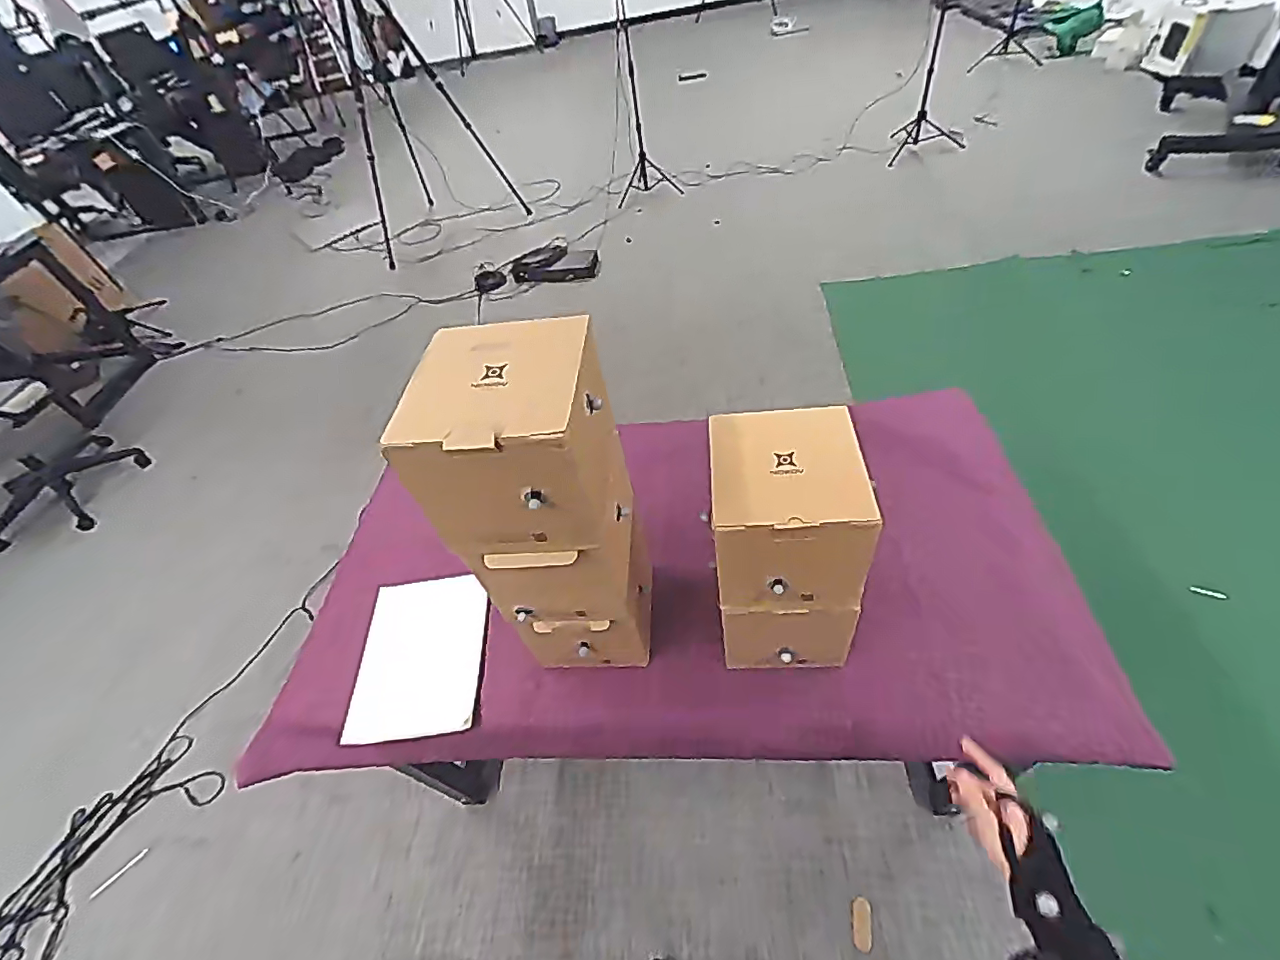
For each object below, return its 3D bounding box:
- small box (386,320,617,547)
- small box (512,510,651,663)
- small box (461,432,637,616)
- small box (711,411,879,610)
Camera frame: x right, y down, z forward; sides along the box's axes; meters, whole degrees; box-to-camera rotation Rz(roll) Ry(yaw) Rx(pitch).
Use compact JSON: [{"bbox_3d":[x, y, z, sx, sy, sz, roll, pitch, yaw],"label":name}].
[{"bbox_3d":[-0.122,-0.042,0.565,0.168,0.176,0.179,-2,48,8],"label":"small box"},{"bbox_3d":[-0.075,0.165,0.816,0.168,0.176,0.179,-3,49,8],"label":"small box"},{"bbox_3d":[-0.099,0.062,0.689,0.168,0.176,0.179,-3,48,8],"label":"small box"},{"bbox_3d":[0.172,0.039,0.658,0.168,0.176,0.179,-3,48,8],"label":"small box"}]
